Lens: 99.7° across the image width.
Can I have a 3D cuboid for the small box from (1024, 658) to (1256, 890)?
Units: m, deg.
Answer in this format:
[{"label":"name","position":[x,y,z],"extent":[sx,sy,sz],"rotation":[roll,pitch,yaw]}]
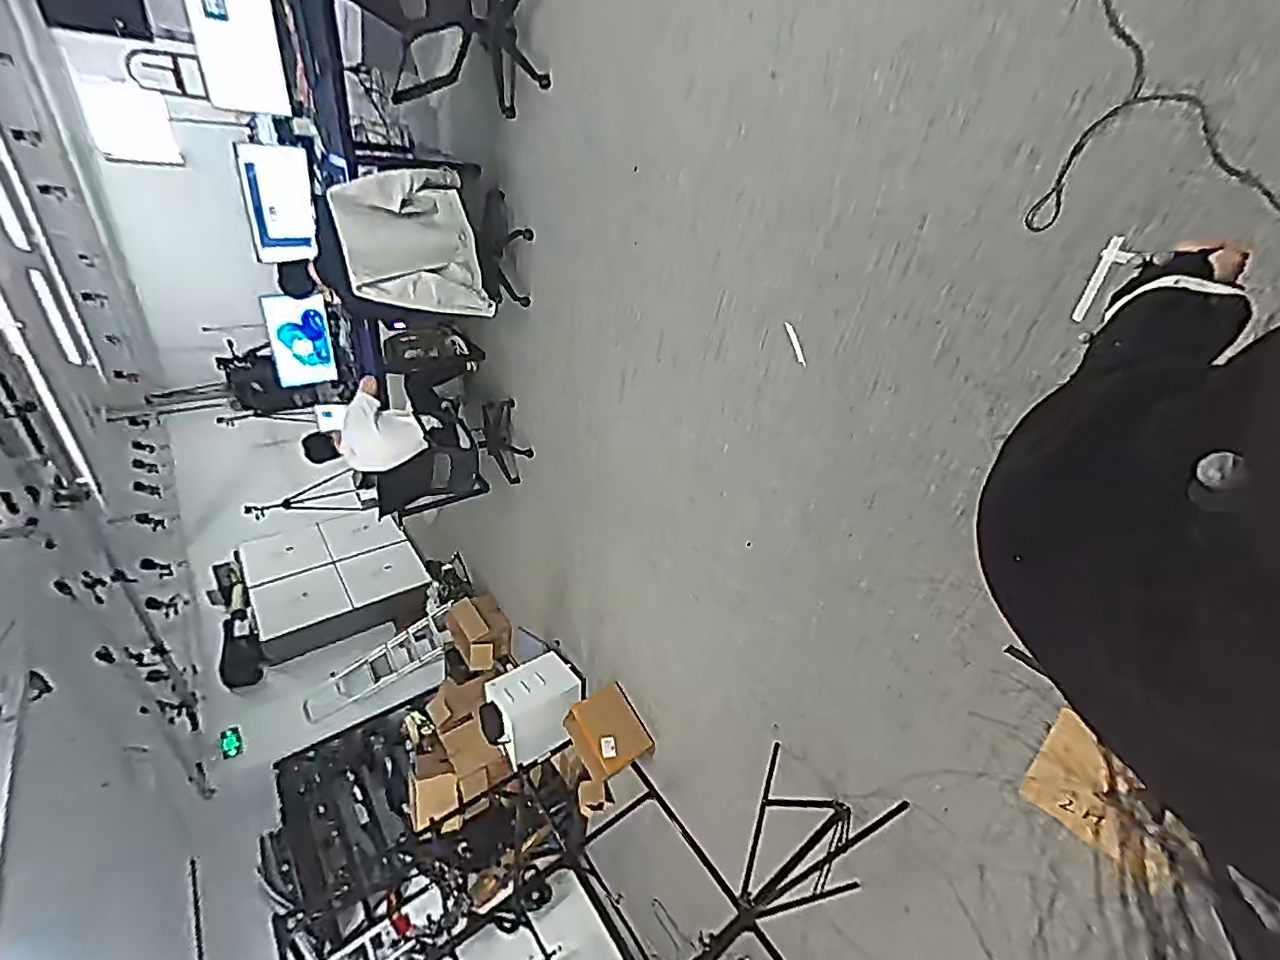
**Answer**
[{"label":"small box","position":[0.661,0.373,0.720],"extent":[0.168,0.176,0.179],"rotation":[32,129,45]}]
